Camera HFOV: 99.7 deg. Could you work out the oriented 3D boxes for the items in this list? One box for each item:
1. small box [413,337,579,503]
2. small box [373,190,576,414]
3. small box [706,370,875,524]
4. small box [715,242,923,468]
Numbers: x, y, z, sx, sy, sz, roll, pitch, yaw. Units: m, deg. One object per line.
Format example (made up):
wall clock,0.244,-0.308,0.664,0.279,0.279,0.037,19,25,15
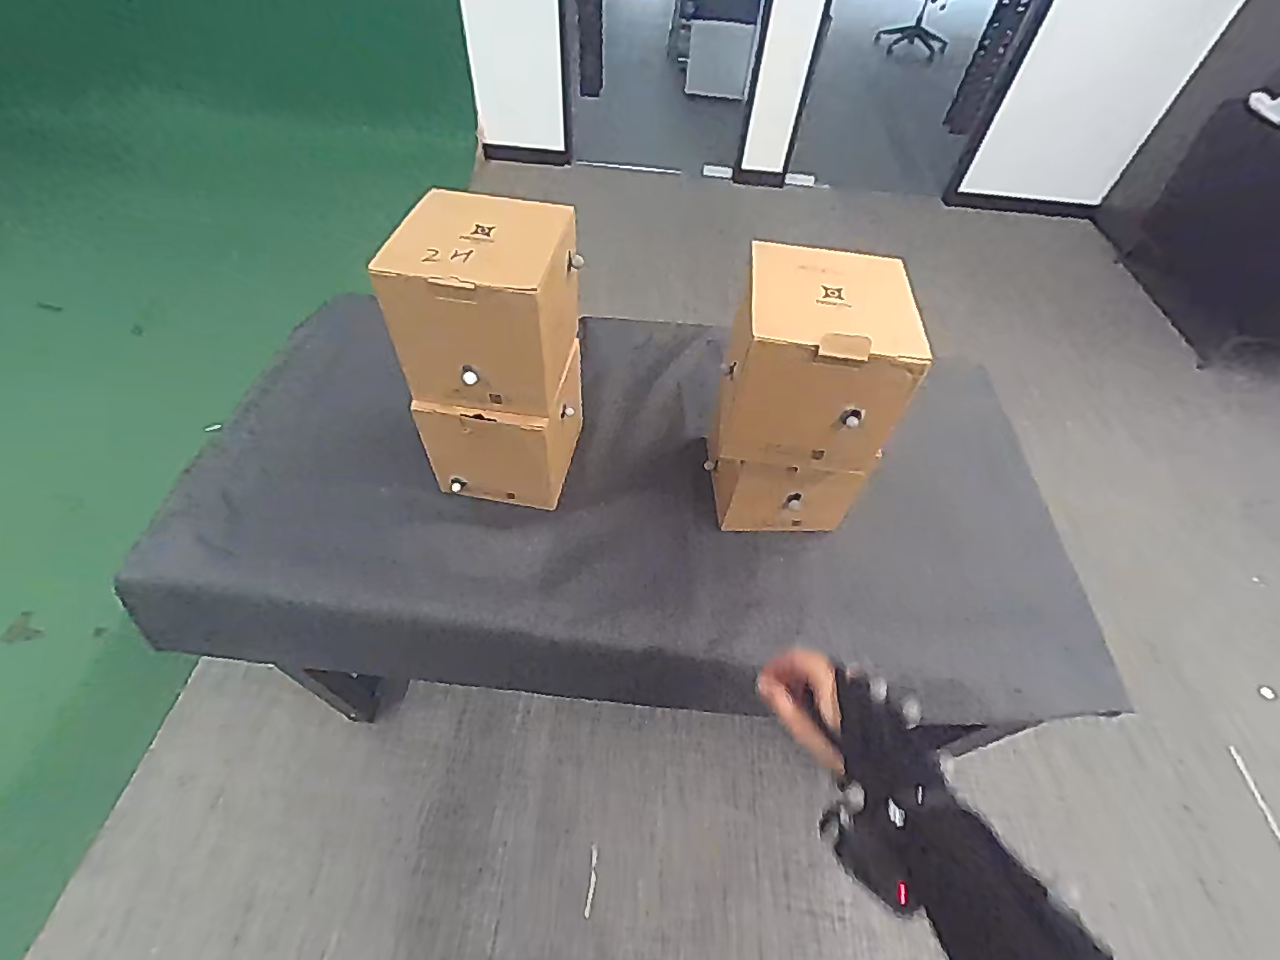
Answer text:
small box,-0.181,-0.090,0.747,0.168,0.176,0.179,10,51,3
small box,-0.171,-0.204,0.627,0.168,0.176,0.179,7,52,2
small box,0.191,-0.051,0.745,0.168,0.176,0.179,0,53,-4
small box,0.181,-0.134,0.603,0.168,0.176,0.179,8,51,1
